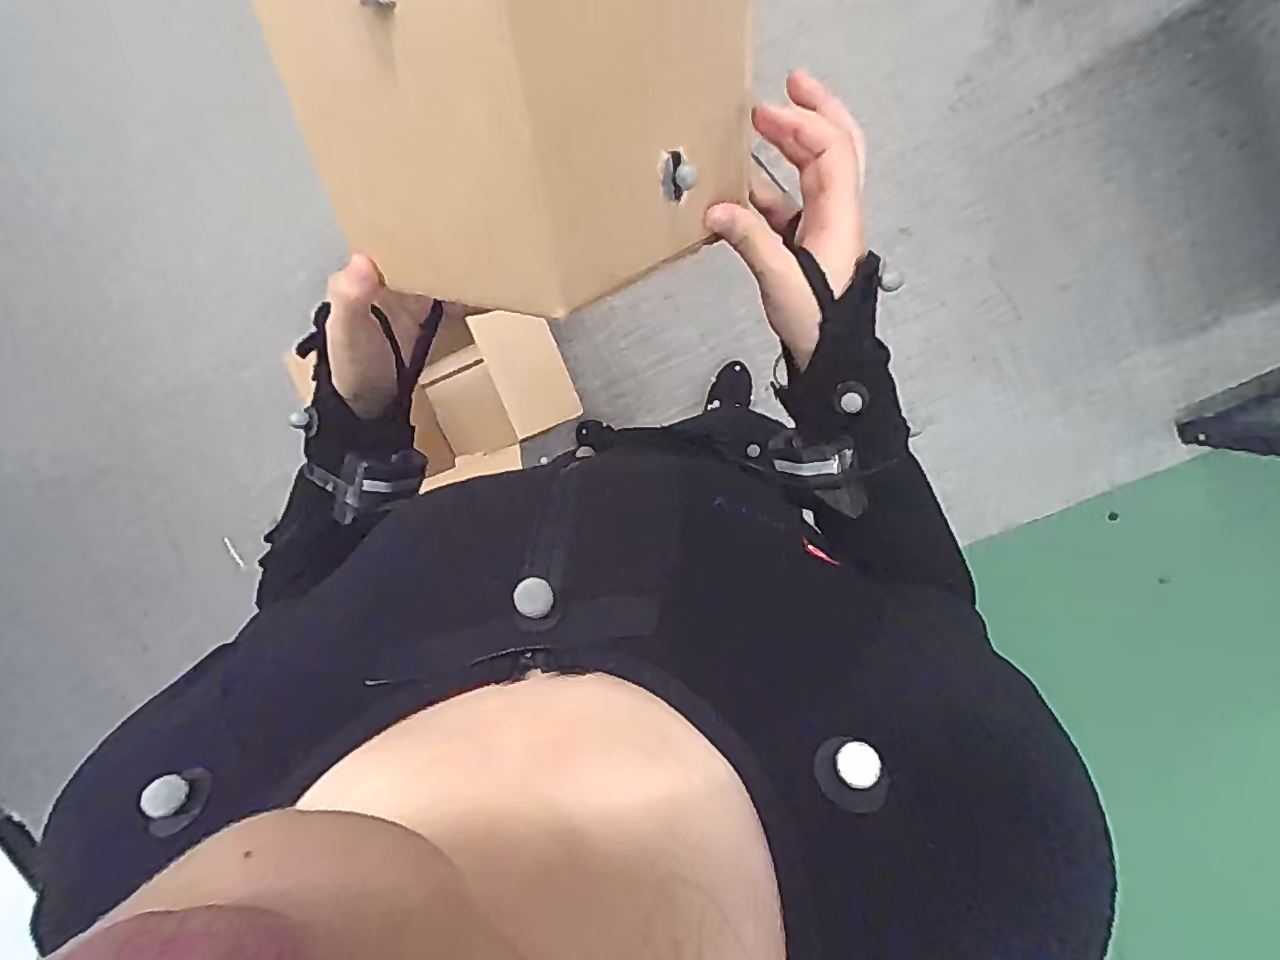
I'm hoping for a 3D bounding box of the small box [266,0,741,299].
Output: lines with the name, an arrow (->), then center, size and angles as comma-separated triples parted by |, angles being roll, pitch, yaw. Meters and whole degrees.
small box -> -0.056, -0.214, 0.281 | 0.168, 0.179, 0.176 | 20, 134, 32
